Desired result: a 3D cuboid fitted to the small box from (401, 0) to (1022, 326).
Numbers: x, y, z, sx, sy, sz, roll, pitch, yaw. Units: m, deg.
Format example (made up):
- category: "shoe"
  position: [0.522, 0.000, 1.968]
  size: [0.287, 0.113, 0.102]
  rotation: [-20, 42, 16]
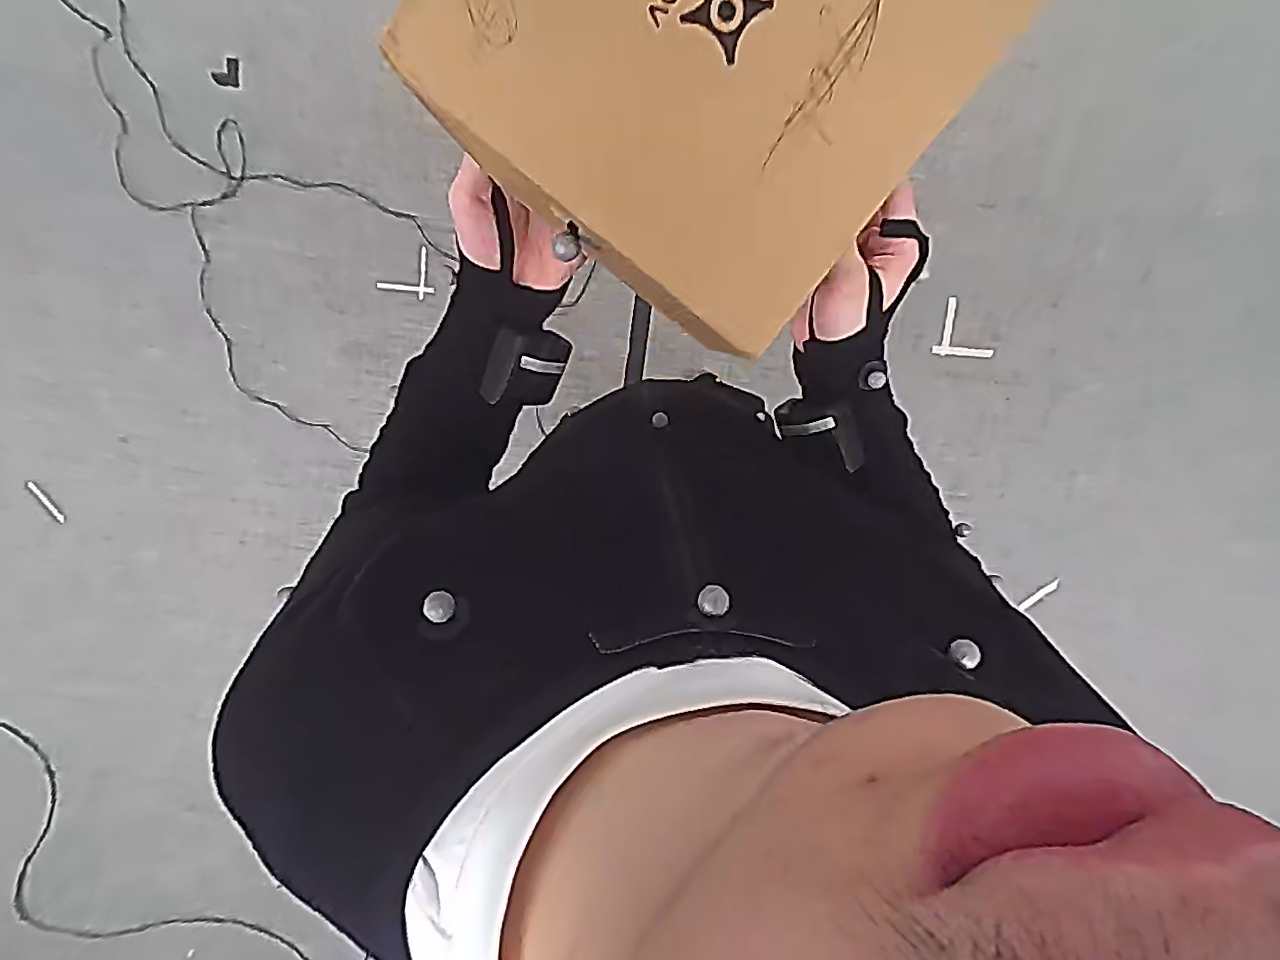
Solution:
- category: "small box"
  position: [0.028, -0.191, 0.270]
  size: [0.179, 0.176, 0.168]
  rotation: [36, 102, -9]
